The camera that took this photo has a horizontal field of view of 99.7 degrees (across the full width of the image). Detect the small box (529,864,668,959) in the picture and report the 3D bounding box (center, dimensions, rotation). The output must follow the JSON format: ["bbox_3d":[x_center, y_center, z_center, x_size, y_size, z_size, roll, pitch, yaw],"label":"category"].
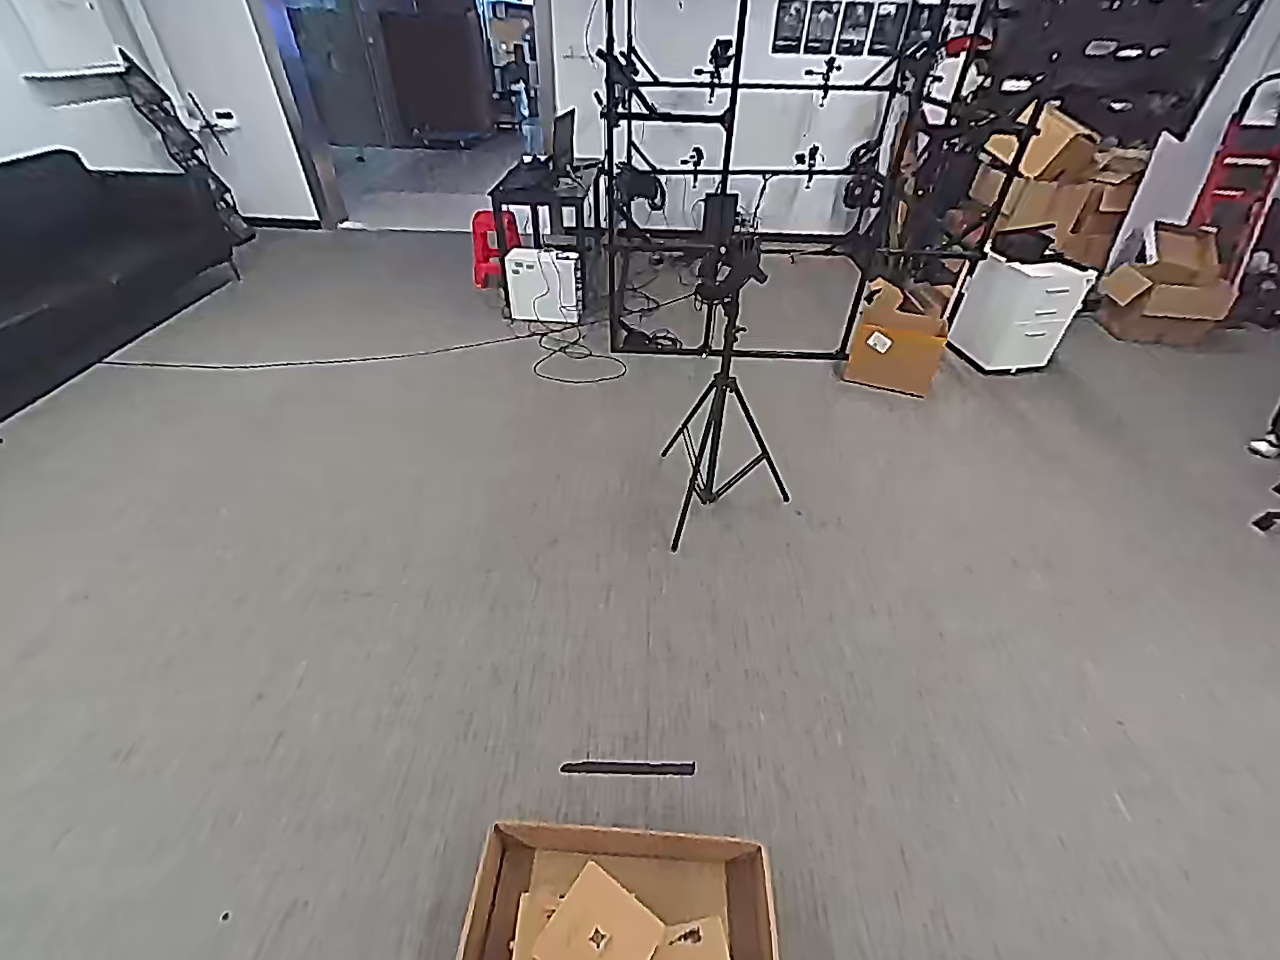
[{"bbox_3d":[-0.070,0.834,0.949,0.179,0.176,0.168,24,42,26],"label":"small box"}]
